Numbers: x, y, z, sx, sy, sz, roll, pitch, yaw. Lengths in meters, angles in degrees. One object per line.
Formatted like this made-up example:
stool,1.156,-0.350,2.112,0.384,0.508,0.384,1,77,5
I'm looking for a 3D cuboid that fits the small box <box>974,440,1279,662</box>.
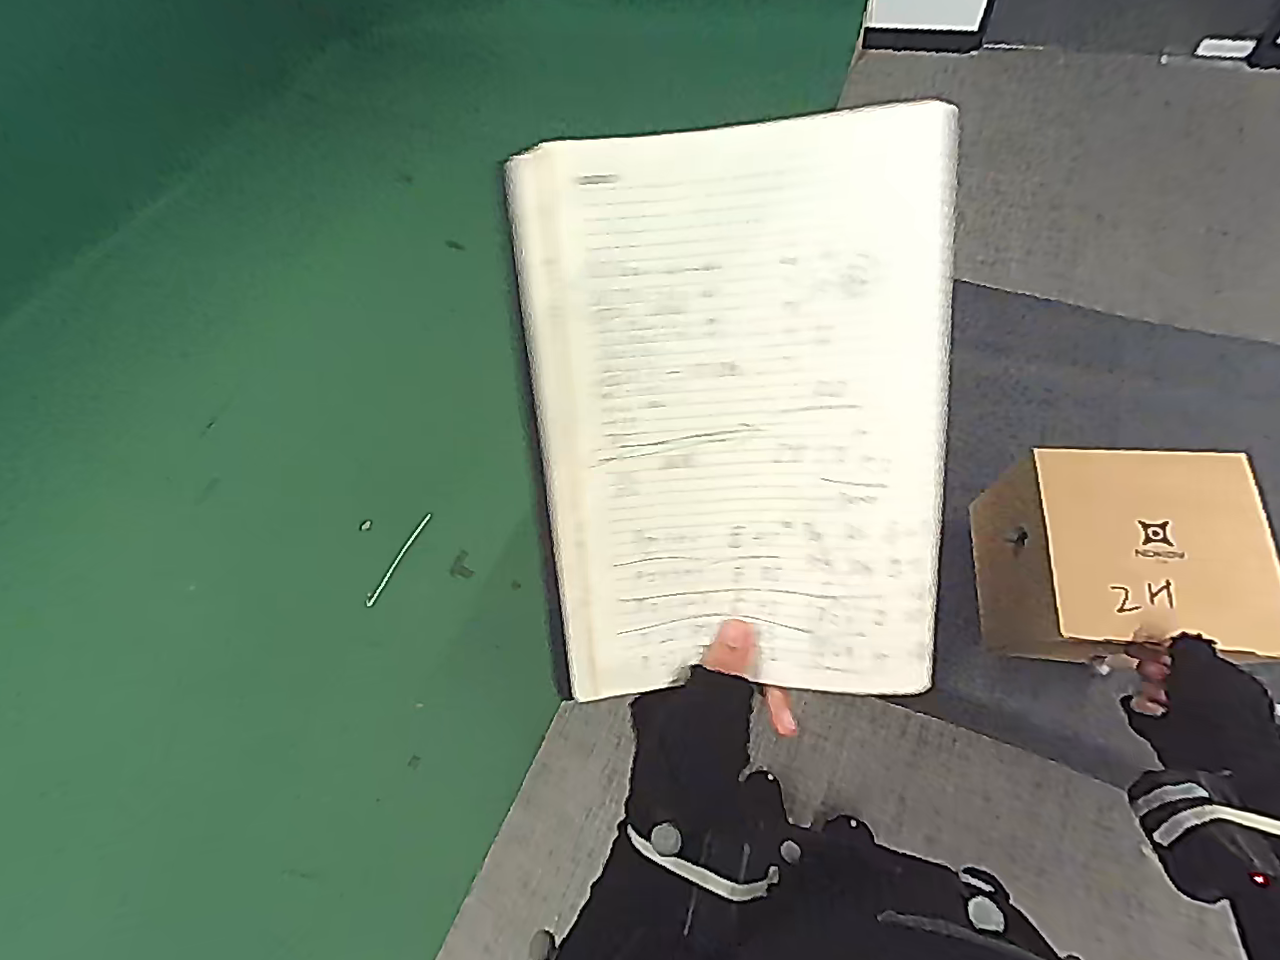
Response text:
small box,0.453,0.076,0.534,0.168,0.176,0.179,2,70,13
